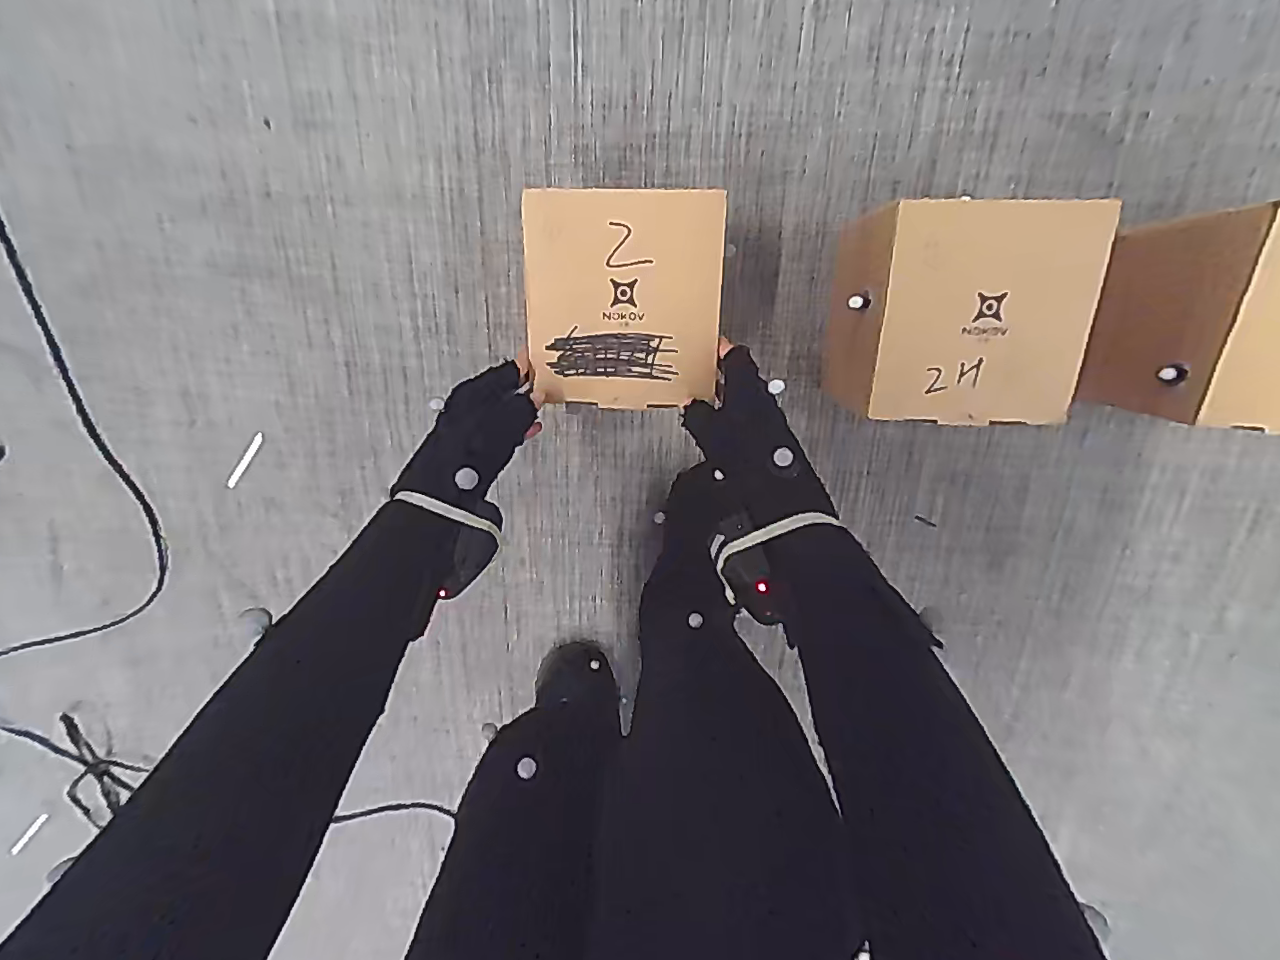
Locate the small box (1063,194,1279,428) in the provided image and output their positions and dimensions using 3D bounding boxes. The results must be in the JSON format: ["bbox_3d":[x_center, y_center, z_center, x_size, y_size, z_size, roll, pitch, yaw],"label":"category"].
[{"bbox_3d":[0.544,-0.151,0.502,0.168,0.176,0.179,4,109,3],"label":"small box"}]

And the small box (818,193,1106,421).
[{"bbox_3d":[0.277,-0.161,0.515,0.168,0.176,0.179,2,109,5],"label":"small box"}]
